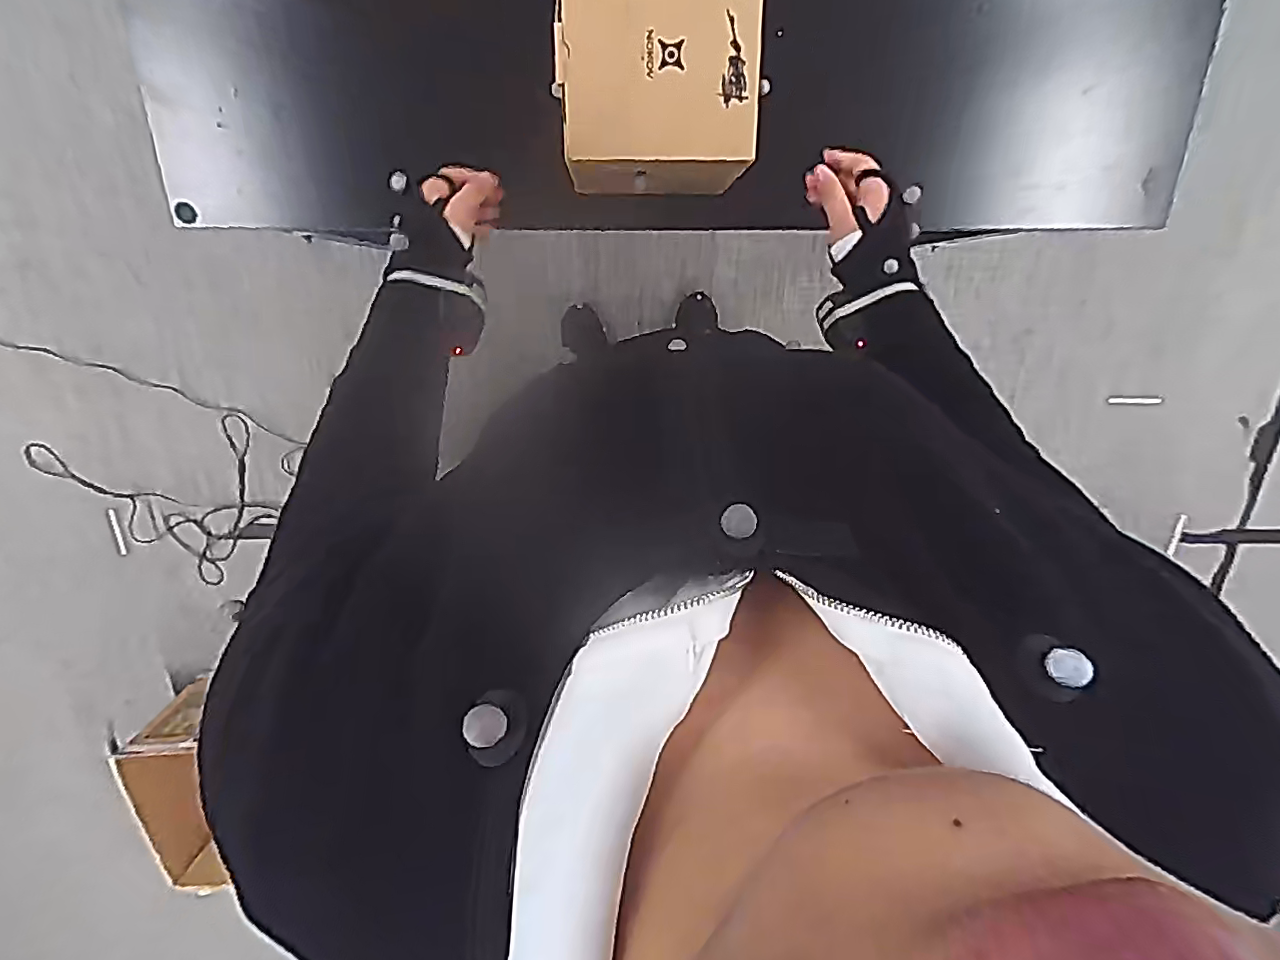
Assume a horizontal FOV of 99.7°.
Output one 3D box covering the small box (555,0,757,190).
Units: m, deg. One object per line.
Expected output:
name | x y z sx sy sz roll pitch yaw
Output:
small box | 0.013 -0.401 0.550 0.179 0.176 0.168 -1 109 -2
